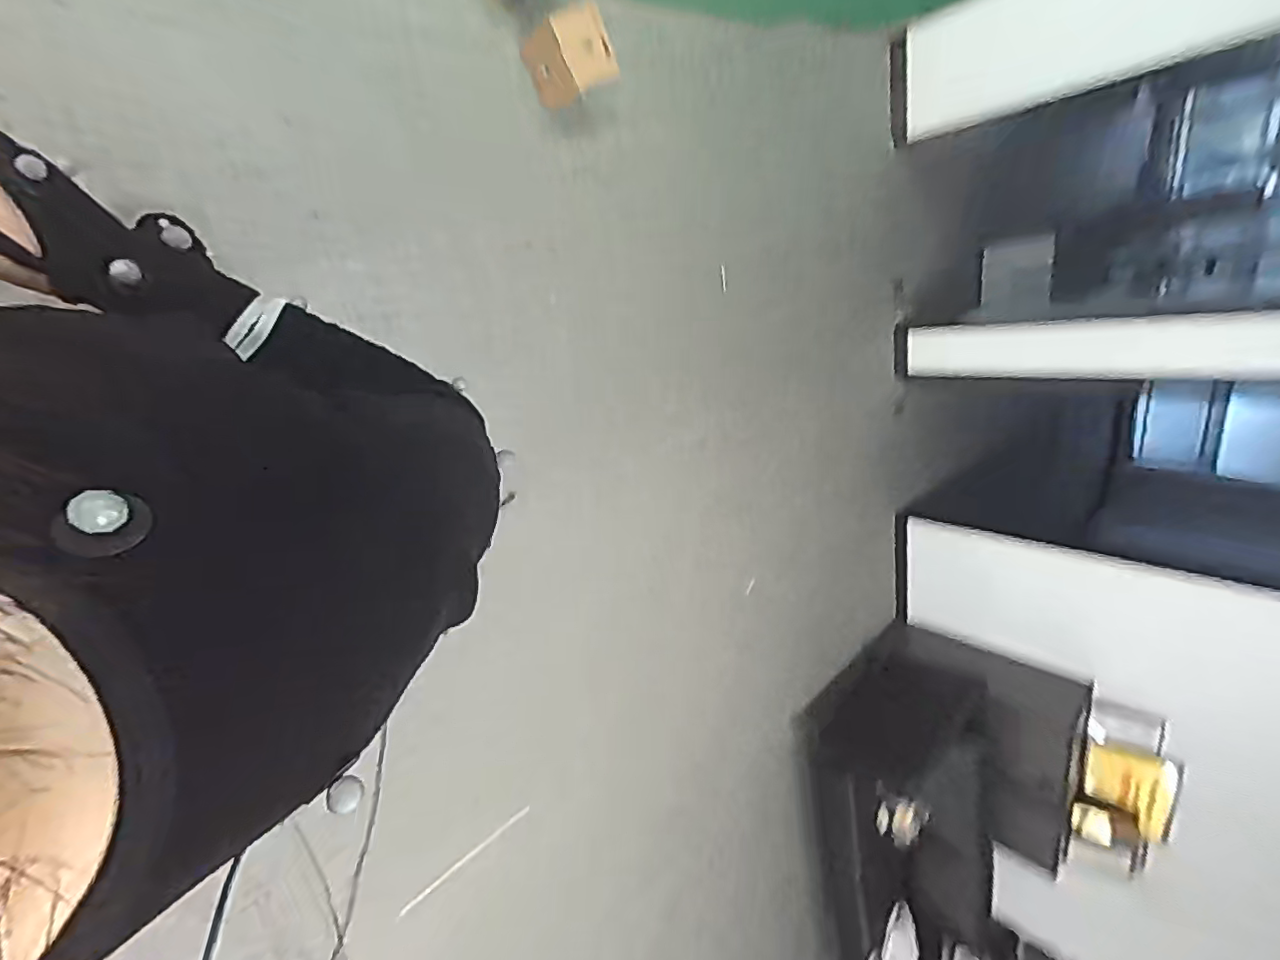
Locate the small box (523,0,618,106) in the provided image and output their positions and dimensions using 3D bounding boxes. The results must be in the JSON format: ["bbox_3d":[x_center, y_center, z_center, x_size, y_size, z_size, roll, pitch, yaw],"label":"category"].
[{"bbox_3d":[-0.200,-1.176,1.497,0.179,0.176,0.168,-44,124,-25],"label":"small box"}]
